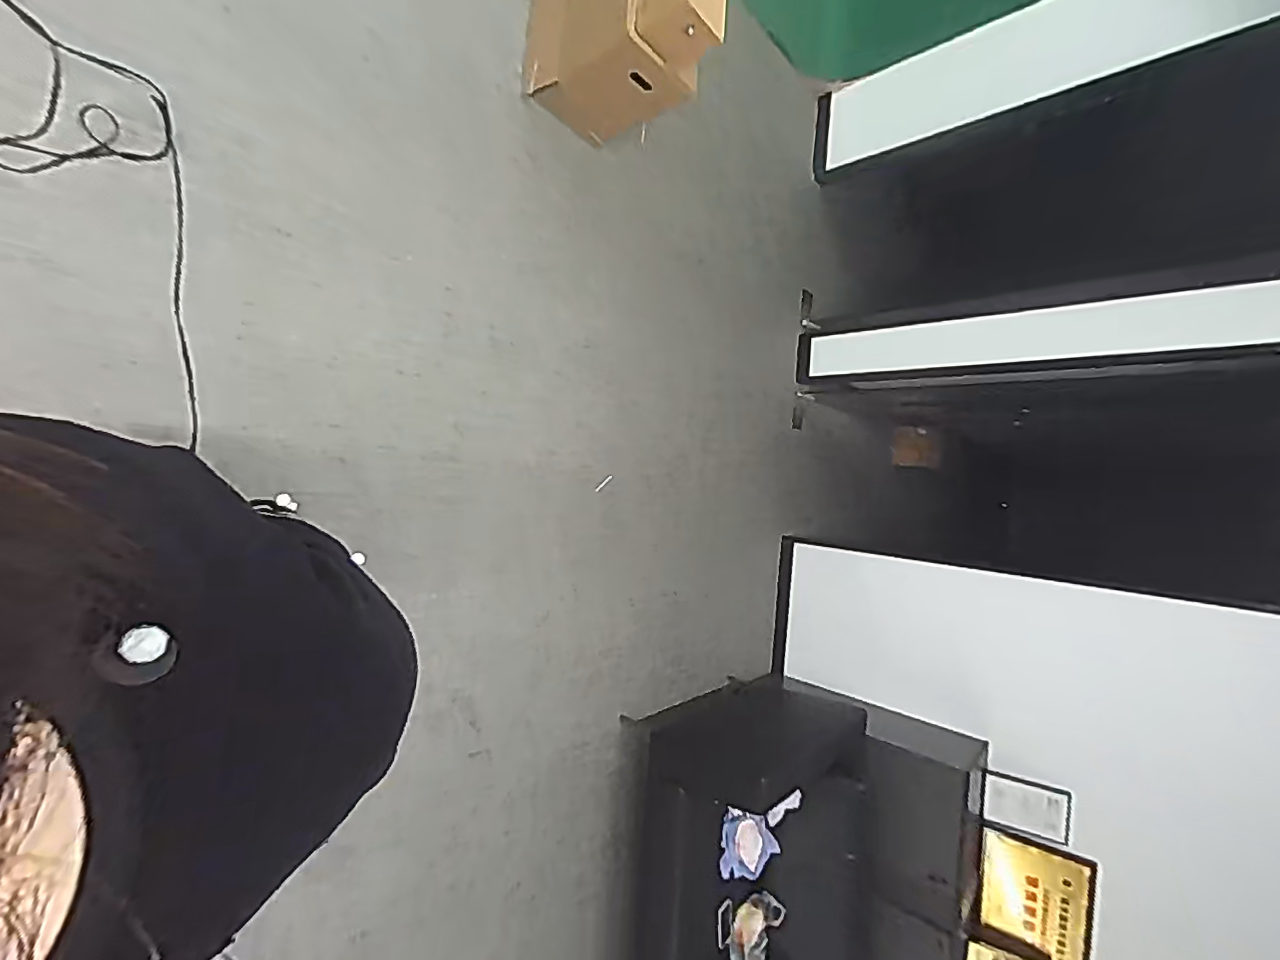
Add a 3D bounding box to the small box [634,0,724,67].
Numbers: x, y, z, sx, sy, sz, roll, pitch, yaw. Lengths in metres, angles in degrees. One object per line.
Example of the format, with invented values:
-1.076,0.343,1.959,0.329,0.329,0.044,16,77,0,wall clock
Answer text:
0.107,-1.276,1.470,0.179,0.176,0.168,7,88,-48,small box
